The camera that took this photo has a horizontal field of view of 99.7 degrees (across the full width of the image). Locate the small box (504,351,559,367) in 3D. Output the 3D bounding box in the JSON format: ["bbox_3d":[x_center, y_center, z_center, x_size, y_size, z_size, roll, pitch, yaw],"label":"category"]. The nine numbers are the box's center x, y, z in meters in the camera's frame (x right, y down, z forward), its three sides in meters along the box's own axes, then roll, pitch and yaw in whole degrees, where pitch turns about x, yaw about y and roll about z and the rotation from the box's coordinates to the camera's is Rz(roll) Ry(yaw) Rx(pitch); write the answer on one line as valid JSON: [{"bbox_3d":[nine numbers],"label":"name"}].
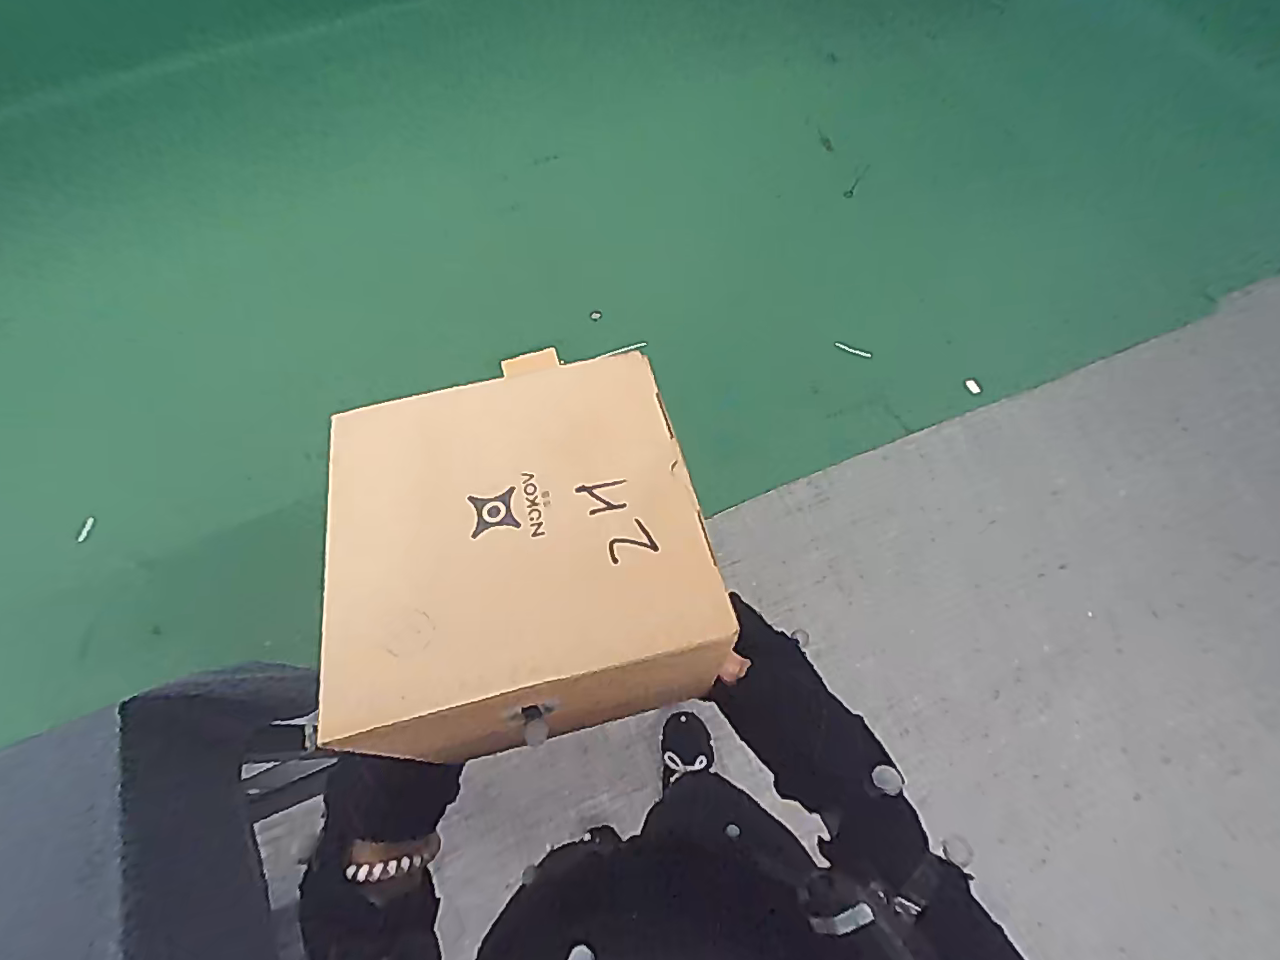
[{"bbox_3d":[-0.297,-0.255,1.643,0.168,0.176,0.179,-16,64,-5],"label":"small box"}]

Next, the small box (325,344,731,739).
[{"bbox_3d":[-0.059,0.048,0.333,0.179,0.176,0.168,-12,61,-6],"label":"small box"}]
